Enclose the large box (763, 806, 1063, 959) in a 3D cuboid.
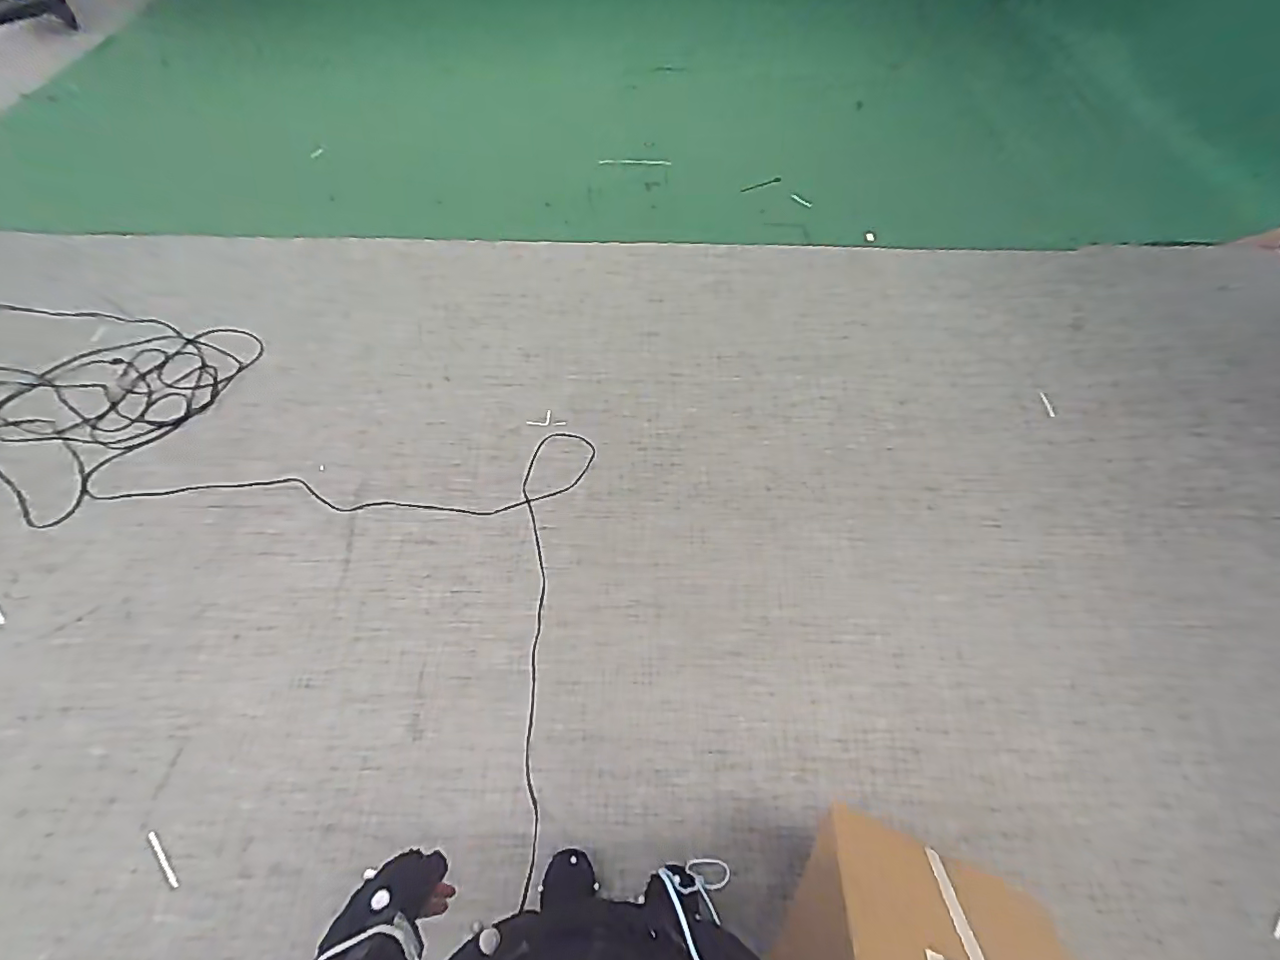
[{"bbox_3d":[0.341,0.711,0.653,0.320,0.408,0.320,20,94,13],"label":"large box"}]
